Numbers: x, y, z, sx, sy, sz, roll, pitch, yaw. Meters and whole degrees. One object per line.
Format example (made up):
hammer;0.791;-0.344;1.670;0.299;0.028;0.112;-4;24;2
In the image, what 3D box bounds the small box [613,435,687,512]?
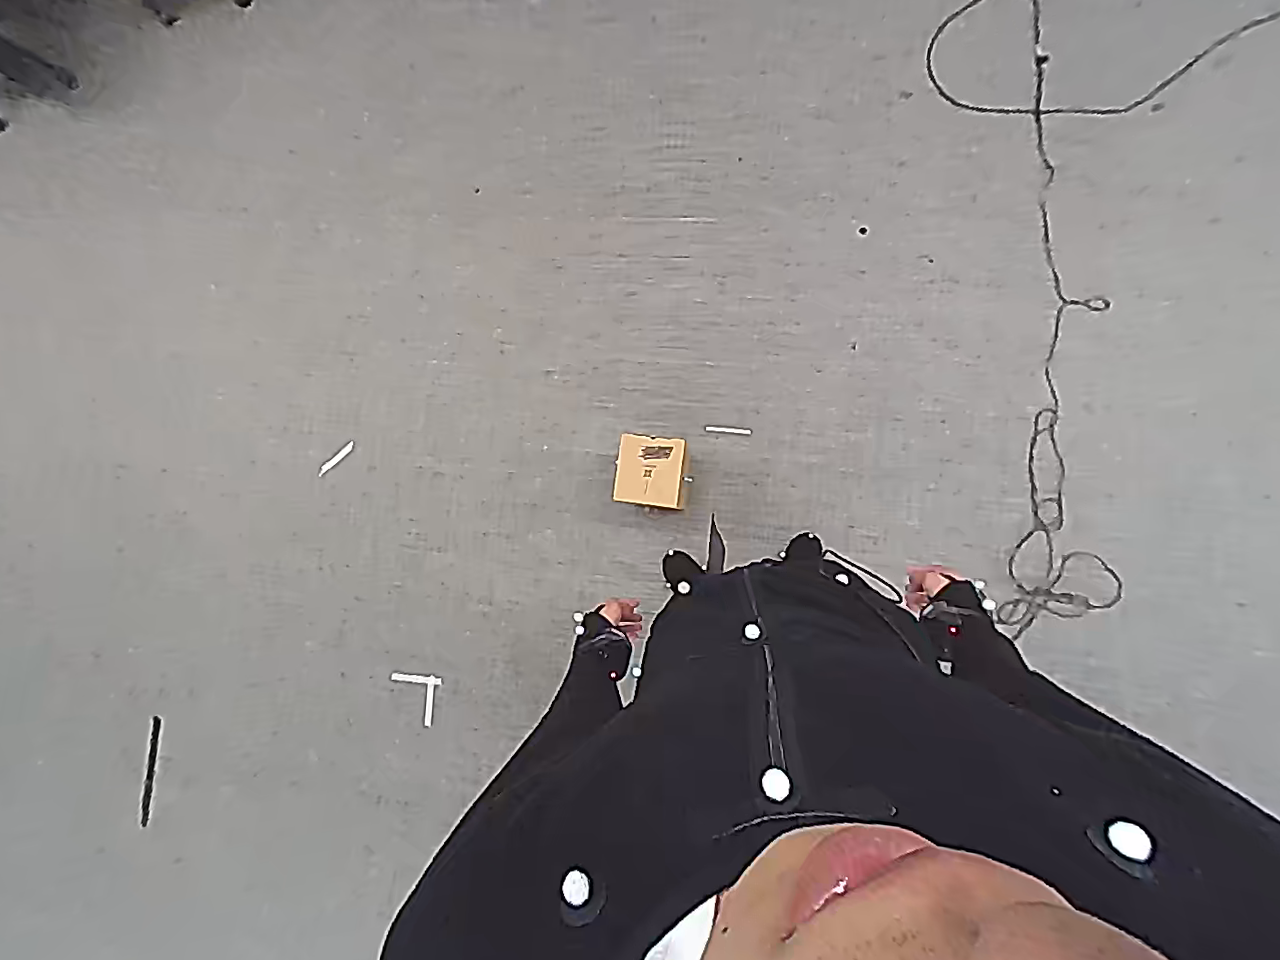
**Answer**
small box;0.032;-0.014;1.438;0.168;0.176;0.179;7;87;9
